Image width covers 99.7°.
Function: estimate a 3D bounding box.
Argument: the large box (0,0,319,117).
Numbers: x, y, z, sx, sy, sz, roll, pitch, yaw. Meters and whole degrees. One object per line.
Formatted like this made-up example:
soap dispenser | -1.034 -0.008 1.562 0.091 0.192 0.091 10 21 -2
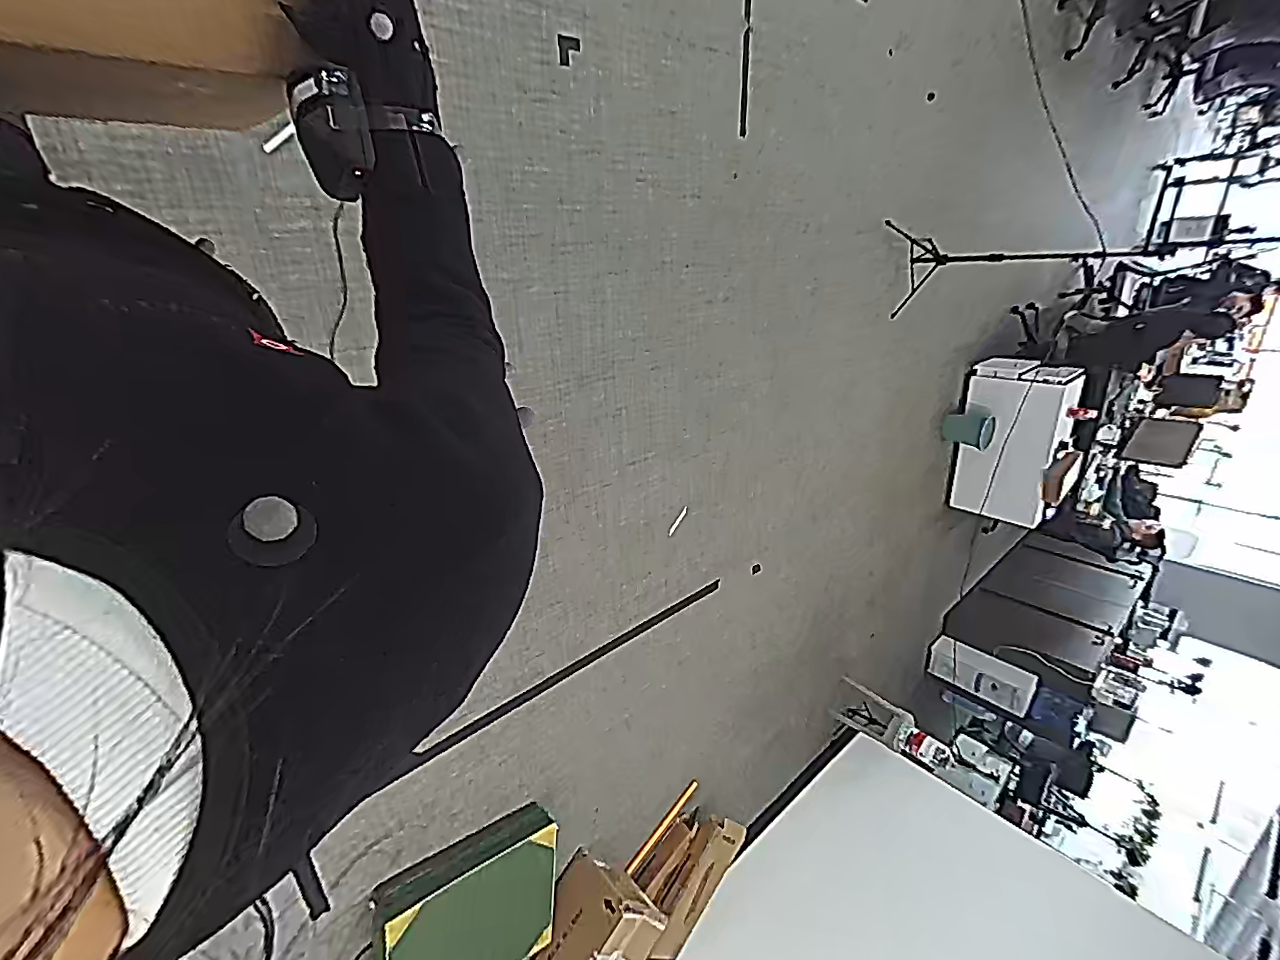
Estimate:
large box | -0.462 -0.400 0.277 0.408 0.320 0.320 -22 125 -37
